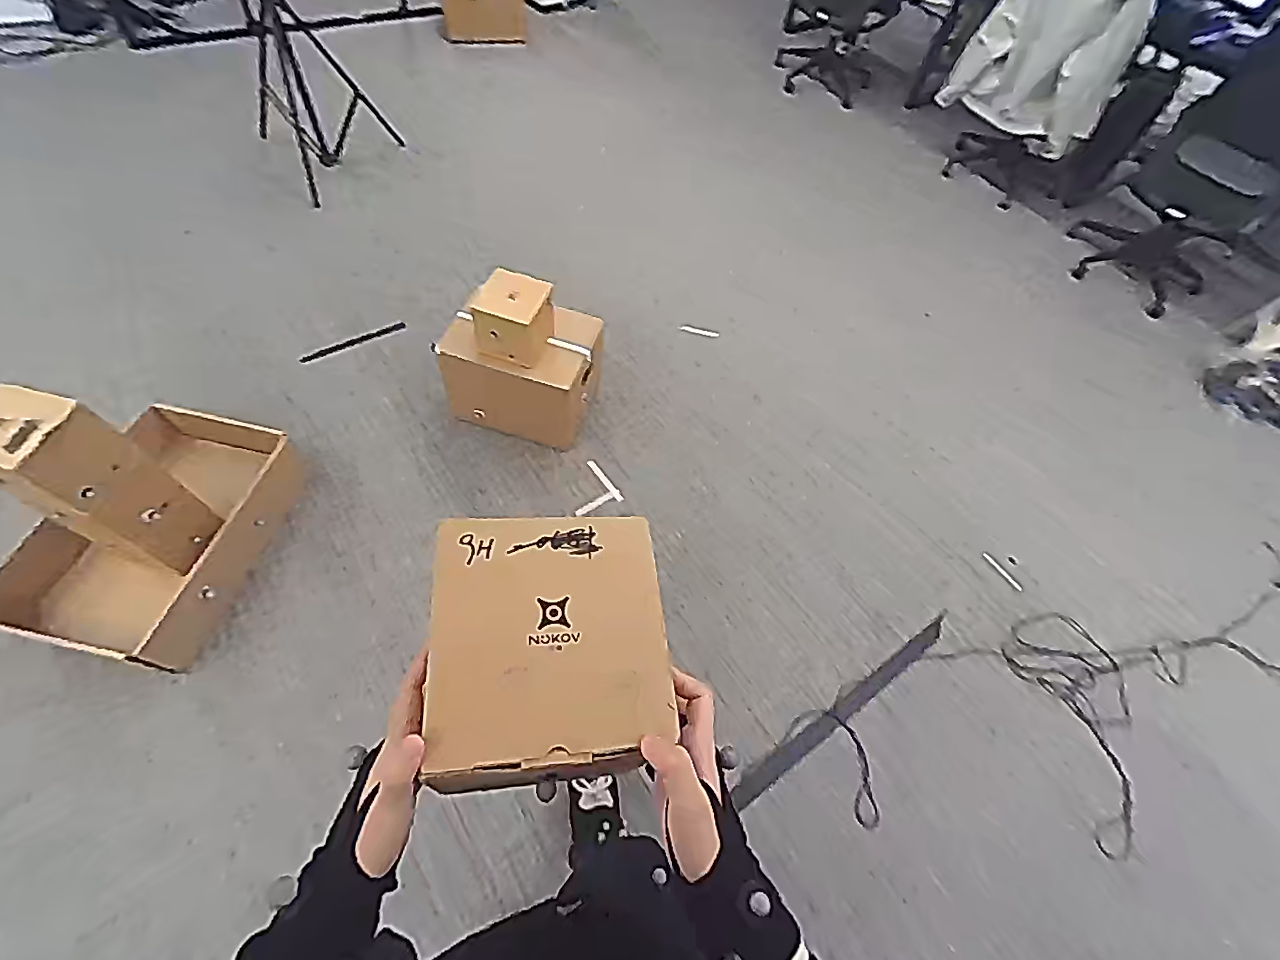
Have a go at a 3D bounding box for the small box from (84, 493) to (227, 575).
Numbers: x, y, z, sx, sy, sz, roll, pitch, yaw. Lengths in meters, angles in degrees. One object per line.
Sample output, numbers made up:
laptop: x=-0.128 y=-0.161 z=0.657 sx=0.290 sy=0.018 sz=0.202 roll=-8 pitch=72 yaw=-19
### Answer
small box: x=-1.201 y=0.119 z=1.350 sx=0.179 sy=0.176 sz=0.168 roll=15 pitch=58 yaw=3

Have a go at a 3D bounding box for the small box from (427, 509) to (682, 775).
small box: x=-0.076 y=0.139 z=0.451 sx=0.168 sy=0.176 sz=0.179 roll=1 pitch=58 yaw=-16

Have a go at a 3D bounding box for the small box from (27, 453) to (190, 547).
small box: x=-1.186 y=0.032 z=1.214 sx=0.179 sy=0.176 sz=0.168 roll=15 pitch=58 yaw=1

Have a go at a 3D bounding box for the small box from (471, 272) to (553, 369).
small box: x=-0.343 y=-0.437 z=1.499 sx=0.168 sy=0.176 sz=0.179 roll=17 pitch=58 yaw=3

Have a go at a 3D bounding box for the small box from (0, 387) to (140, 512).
small box: x=-1.174 y=-0.054 z=1.075 sx=0.179 sy=0.176 sz=0.168 roll=13 pitch=58 yaw=3
